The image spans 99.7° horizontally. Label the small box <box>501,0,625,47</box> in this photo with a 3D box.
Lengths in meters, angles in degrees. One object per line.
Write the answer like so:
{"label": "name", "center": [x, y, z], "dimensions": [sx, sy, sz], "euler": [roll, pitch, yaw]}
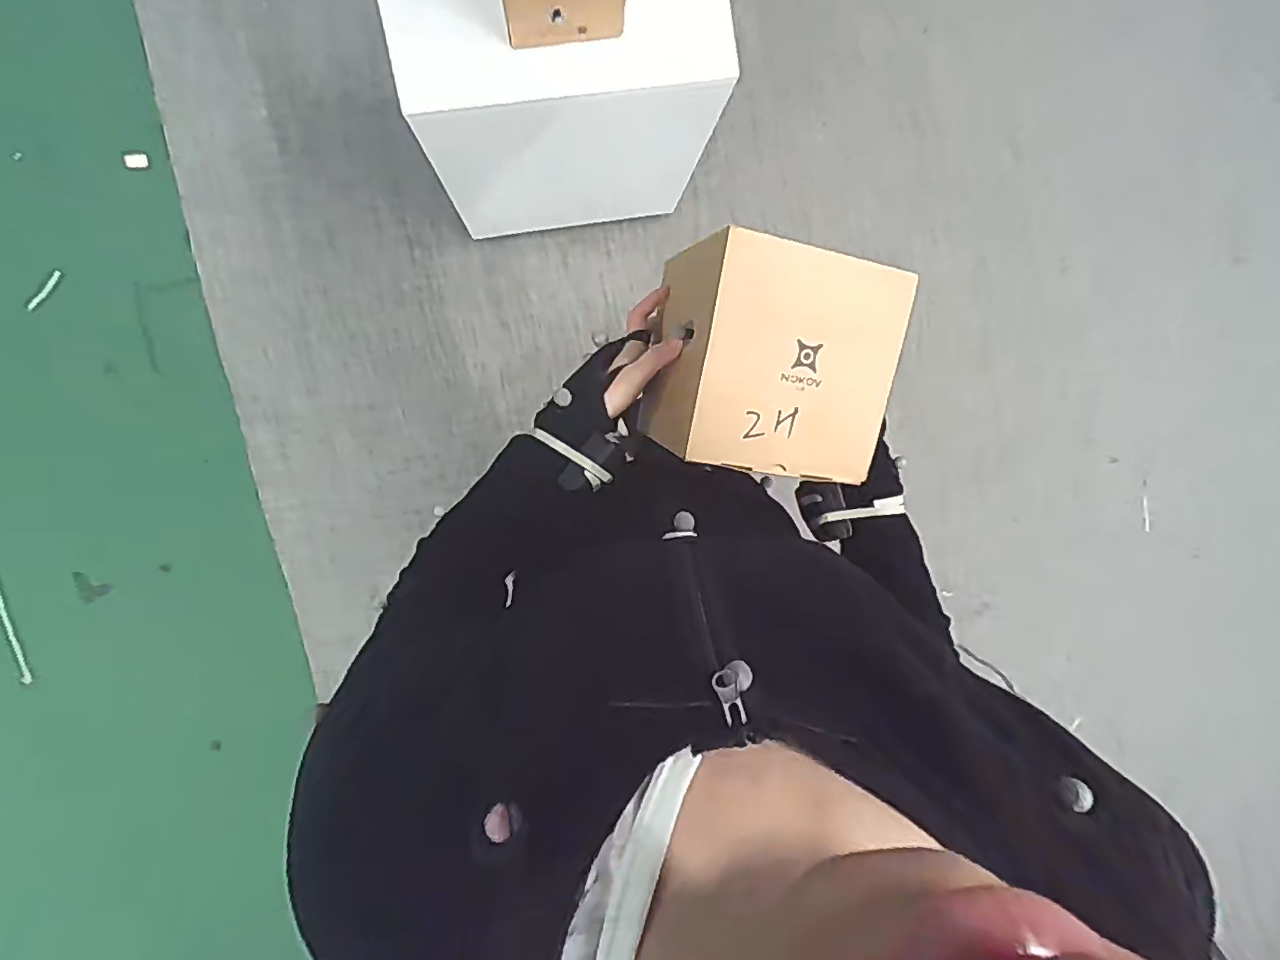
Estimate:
{"label": "small box", "center": [-0.111, -0.710, 0.692], "dimensions": [0.168, 0.176, 0.179], "euler": [-11, 97, -5]}

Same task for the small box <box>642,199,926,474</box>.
{"label": "small box", "center": [0.107, -0.116, 0.479], "dimensions": [0.168, 0.176, 0.179], "euler": [7, 101, -14]}
